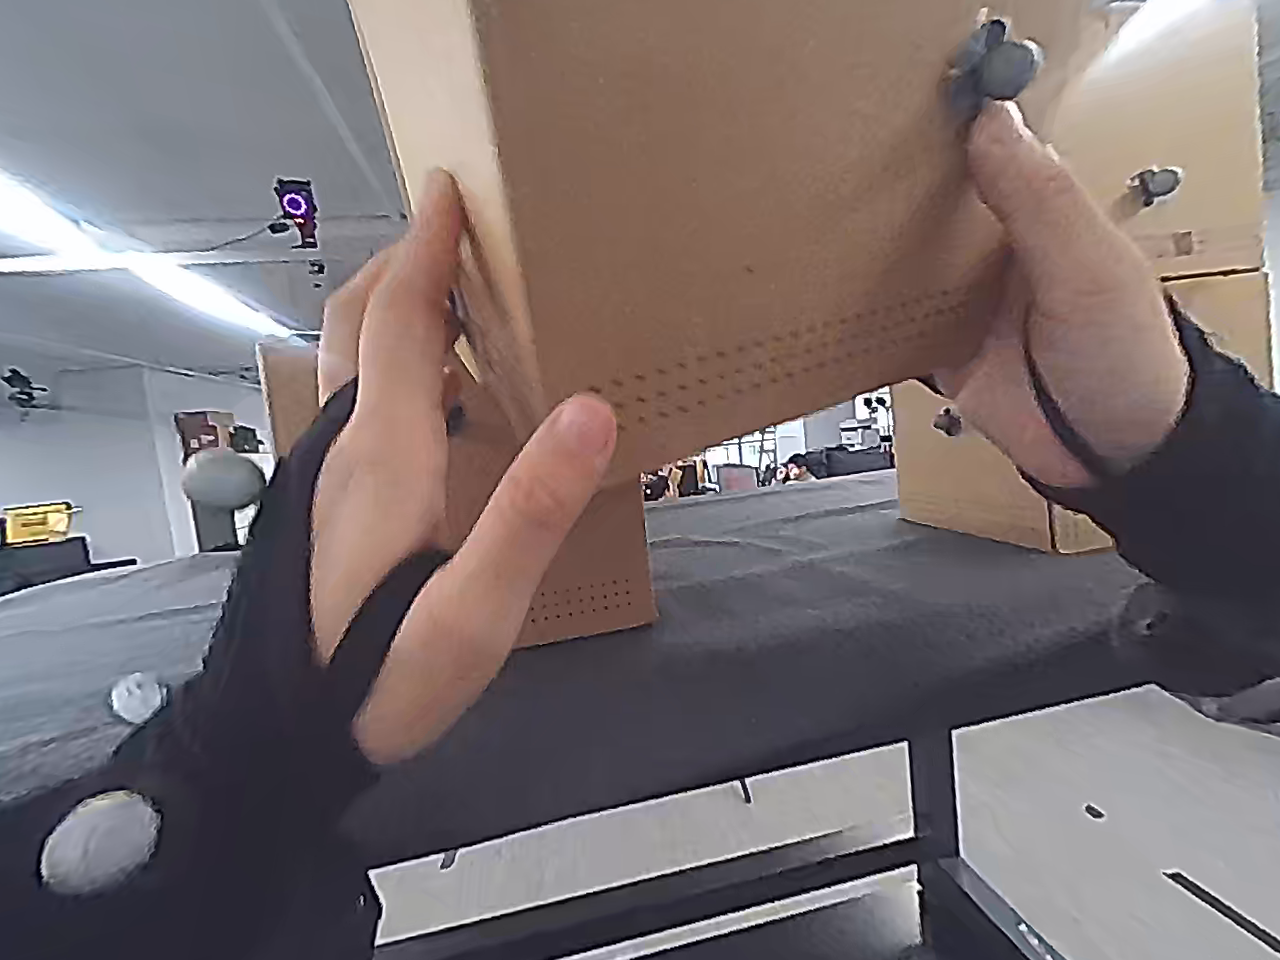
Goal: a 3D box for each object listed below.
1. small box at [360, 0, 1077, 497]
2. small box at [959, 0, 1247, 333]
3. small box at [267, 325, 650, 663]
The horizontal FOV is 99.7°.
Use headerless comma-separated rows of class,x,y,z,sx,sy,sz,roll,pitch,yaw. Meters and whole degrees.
small box,0.014,-0.122,0.193,0.179,0.176,0.168,-22,37,-21
small box,0.299,-0.214,0.421,0.168,0.176,0.179,-8,4,-6
small box,-0.102,0.005,0.353,0.179,0.176,0.168,-7,3,-13
